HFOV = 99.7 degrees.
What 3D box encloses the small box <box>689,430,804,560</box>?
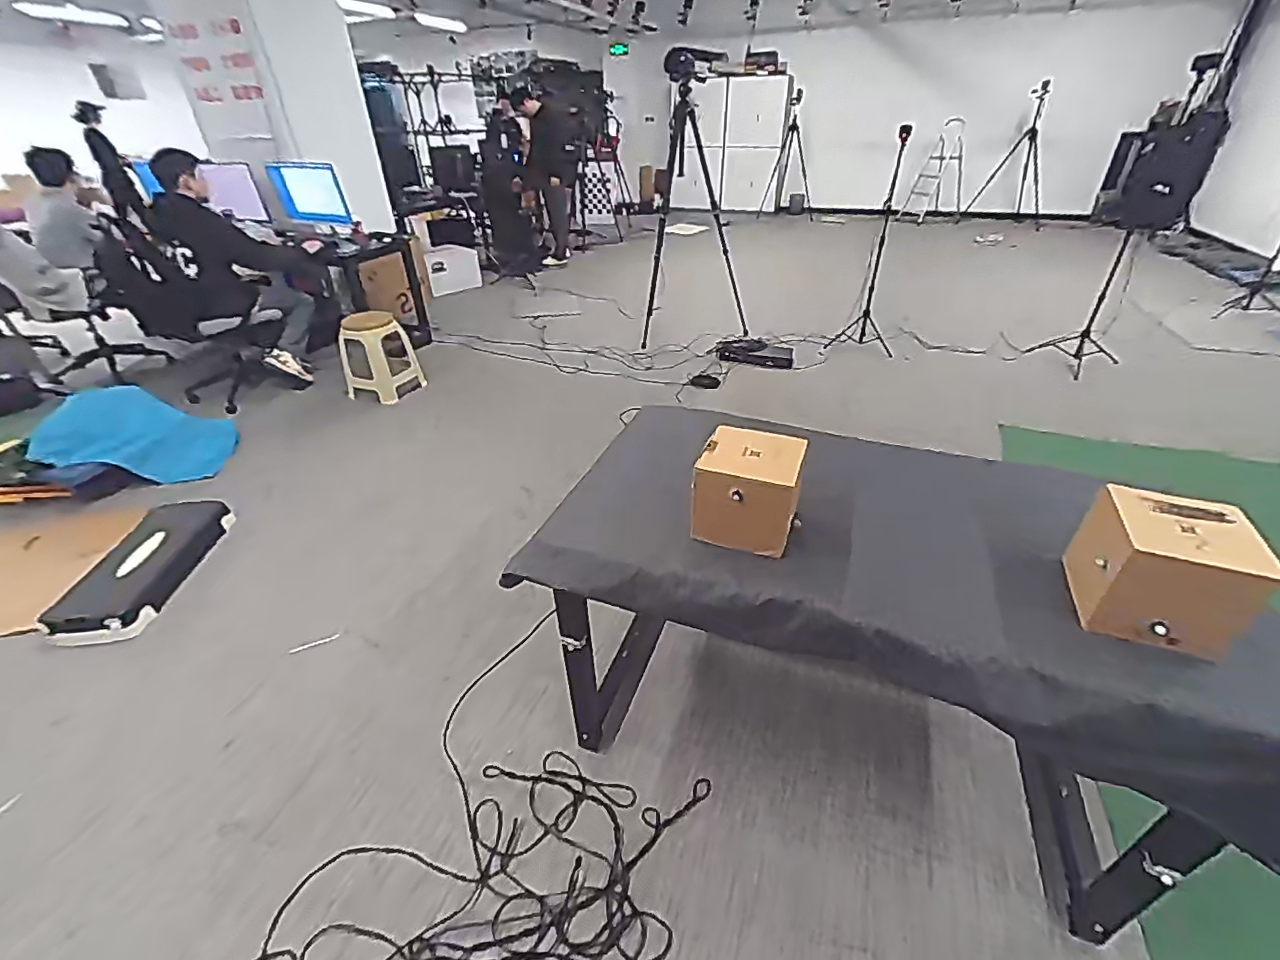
[{"bbox_3d":[0.196,0.028,1.016,0.179,0.176,0.168,13,37,18],"label":"small box"}]
